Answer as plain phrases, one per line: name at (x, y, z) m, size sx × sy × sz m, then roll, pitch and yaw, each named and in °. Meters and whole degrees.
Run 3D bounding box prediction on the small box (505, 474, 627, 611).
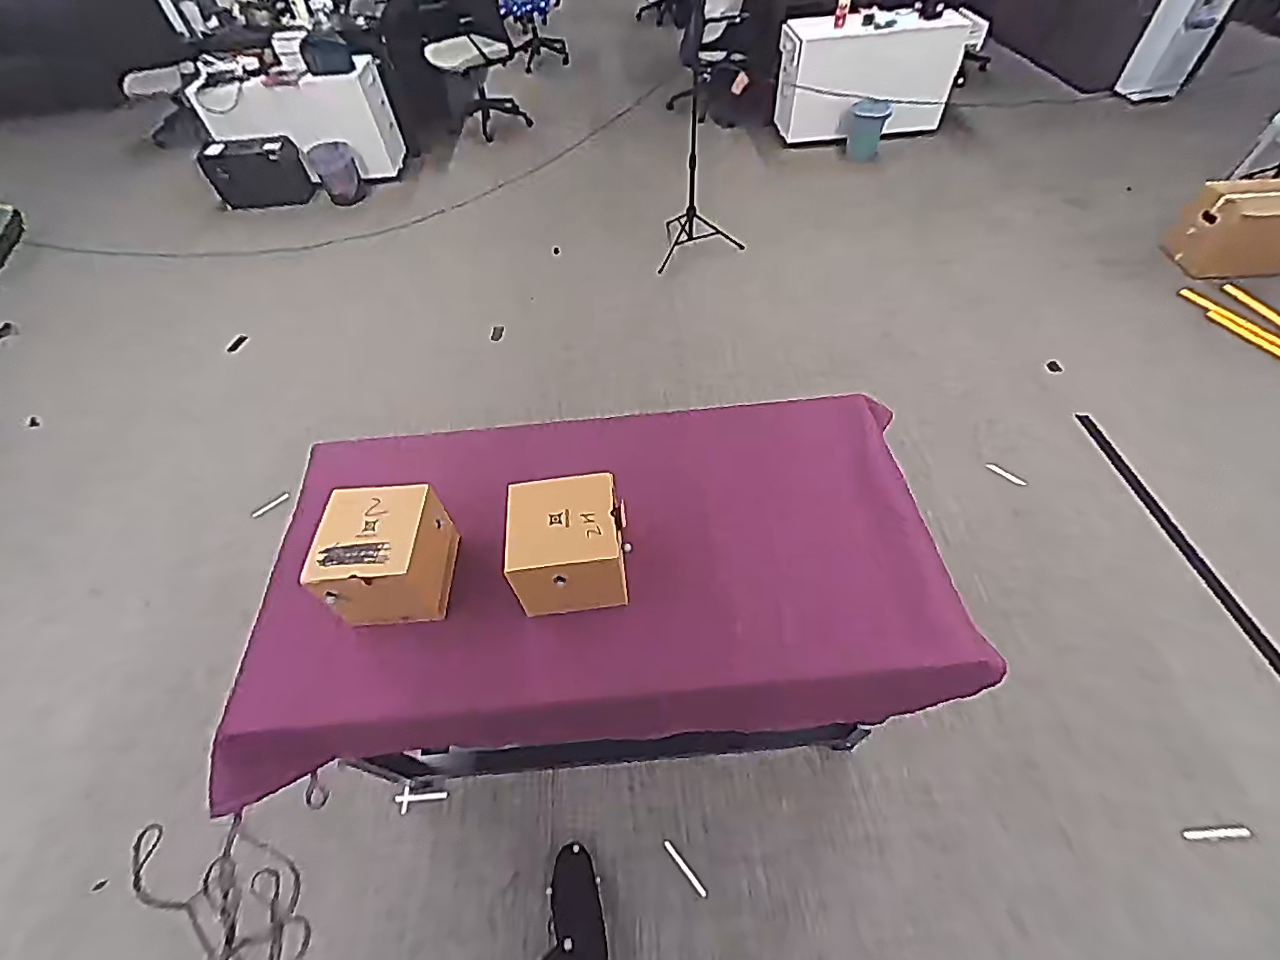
small box at (-0.120, 0.112, 0.923) m, size 0.179 × 0.176 × 0.168 m, roll -6°, pitch 53°, yaw -1°
